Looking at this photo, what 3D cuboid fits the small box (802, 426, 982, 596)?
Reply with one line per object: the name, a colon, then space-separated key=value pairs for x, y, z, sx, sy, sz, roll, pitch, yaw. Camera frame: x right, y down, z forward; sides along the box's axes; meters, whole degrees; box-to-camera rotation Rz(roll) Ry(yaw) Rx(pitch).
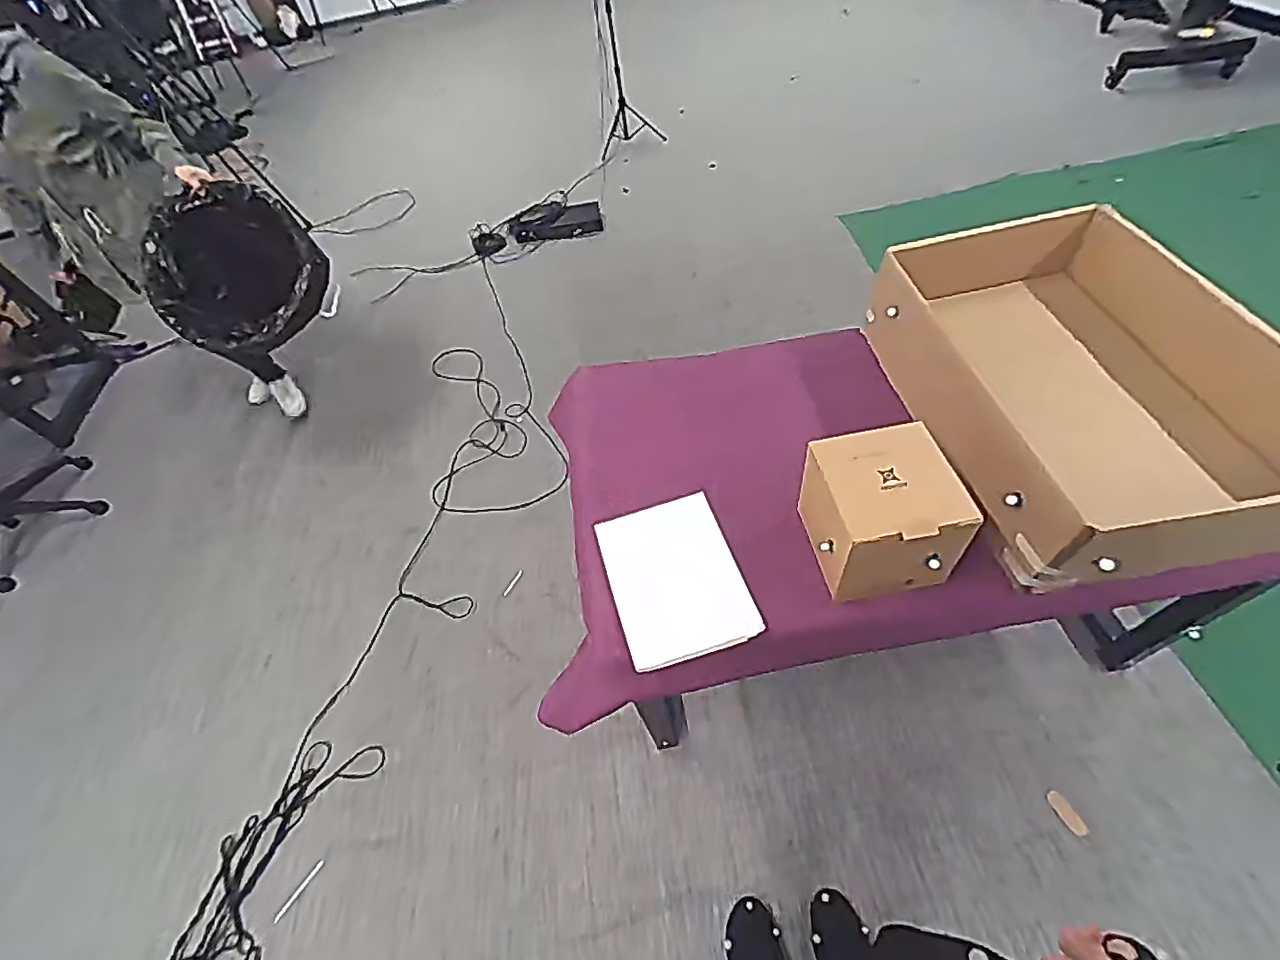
small box: x=0.343 y=0.052 z=0.776 sx=0.168 sy=0.176 sz=0.179 roll=-10 pitch=50 yaw=2
